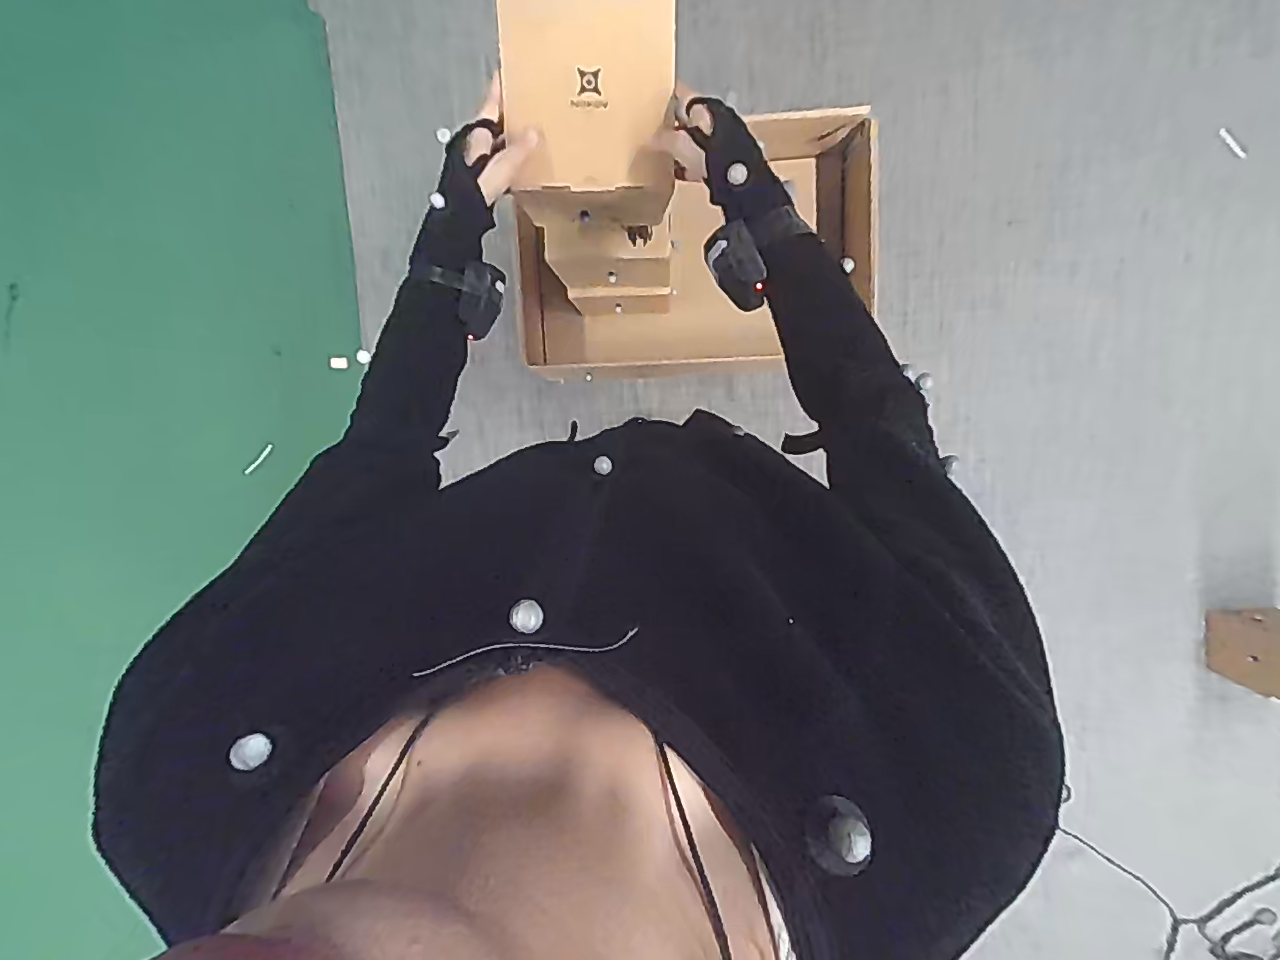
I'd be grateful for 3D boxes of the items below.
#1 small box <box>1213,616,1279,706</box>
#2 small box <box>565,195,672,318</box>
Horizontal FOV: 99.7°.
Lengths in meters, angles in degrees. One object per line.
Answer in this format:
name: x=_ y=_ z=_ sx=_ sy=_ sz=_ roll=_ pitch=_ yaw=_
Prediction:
small box: x=1.627 y=0.454 z=1.379 sx=0.168 sy=0.176 sz=0.179 roll=-4 pitch=95 yaw=4
small box: x=-0.033 y=-0.392 z=0.971 sx=0.179 sy=0.176 sz=0.168 roll=-1 pitch=95 yaw=3
